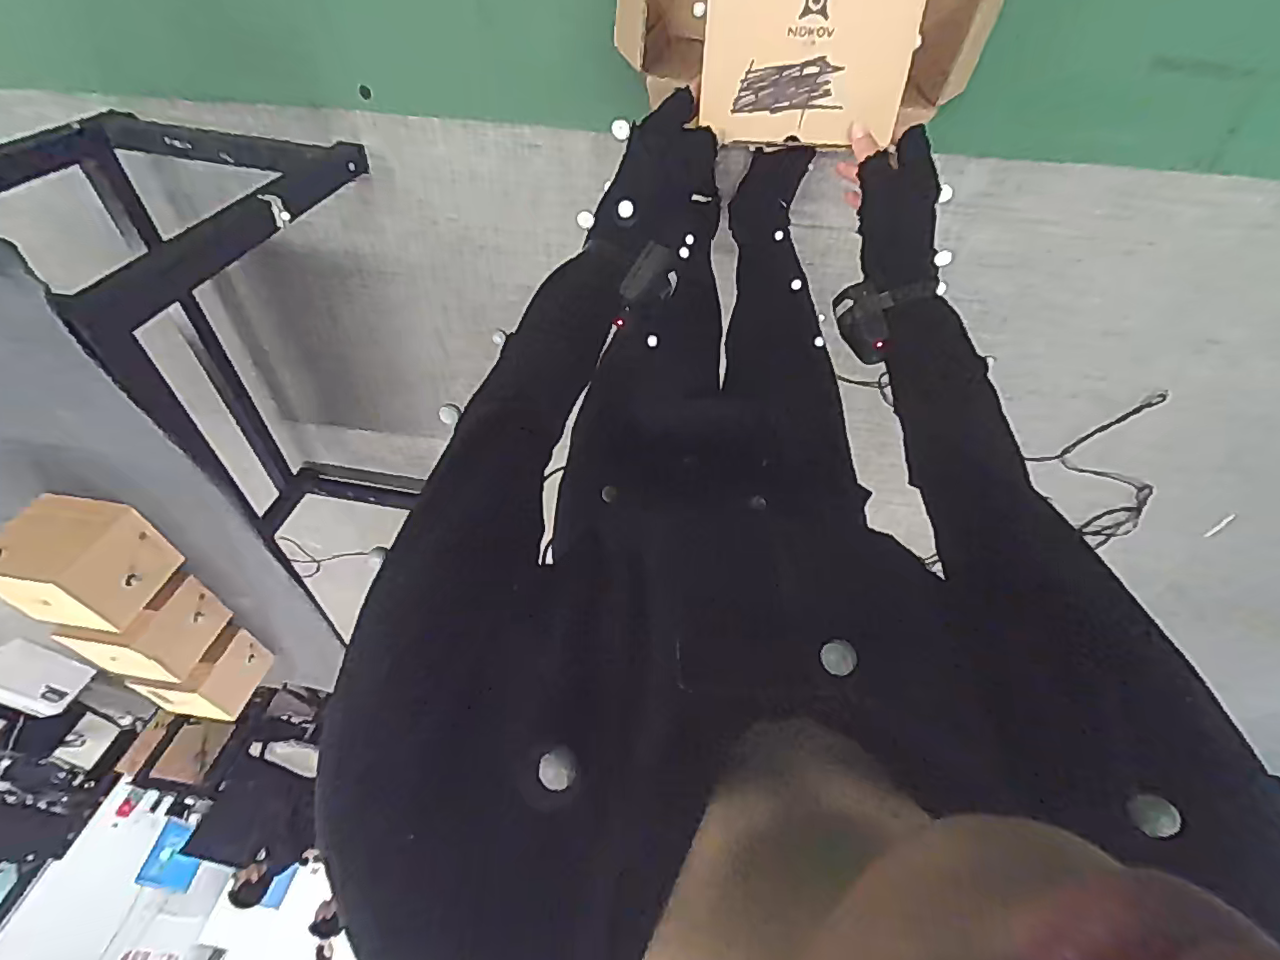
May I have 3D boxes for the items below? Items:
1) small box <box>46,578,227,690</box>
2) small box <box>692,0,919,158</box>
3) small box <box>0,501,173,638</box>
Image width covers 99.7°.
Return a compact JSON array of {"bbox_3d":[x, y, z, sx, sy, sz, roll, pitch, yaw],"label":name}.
[{"bbox_3d":[-1.023,0.307,1.119,0.179,0.176,0.168,6,137,5],"label":"small box"},{"bbox_3d":[0.141,-0.404,0.488,0.168,0.176,0.179,6,125,5],"label":"small box"},{"bbox_3d":[-0.989,0.155,0.958,0.179,0.176,0.168,7,137,5],"label":"small box"}]
